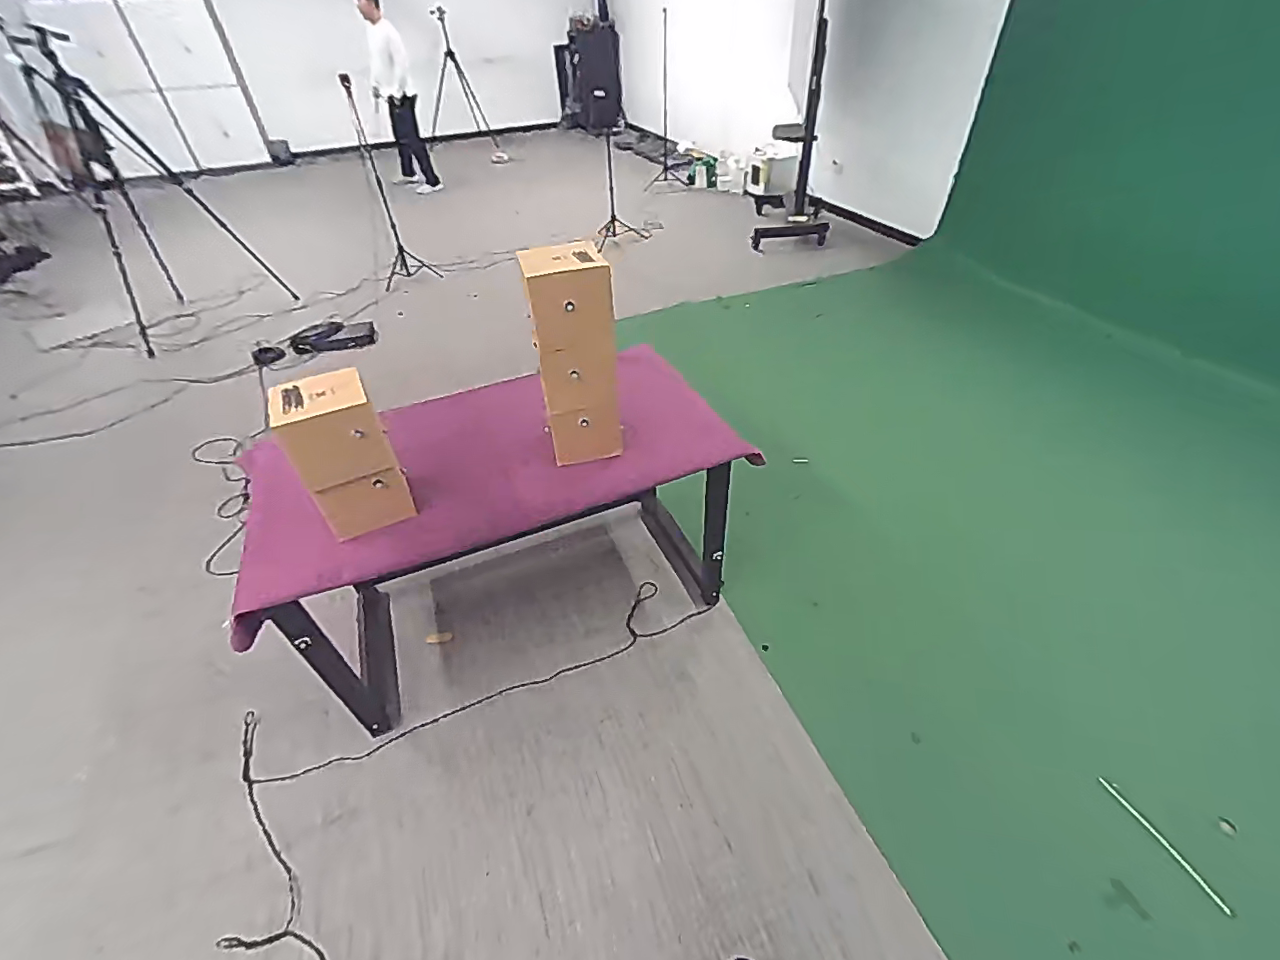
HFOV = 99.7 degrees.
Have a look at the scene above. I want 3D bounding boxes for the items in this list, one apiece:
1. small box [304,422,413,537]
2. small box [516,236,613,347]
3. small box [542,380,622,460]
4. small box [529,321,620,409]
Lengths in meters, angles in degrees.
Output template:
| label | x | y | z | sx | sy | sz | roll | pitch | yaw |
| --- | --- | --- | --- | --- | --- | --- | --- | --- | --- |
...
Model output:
| label | x | y | z | sx | sy | sz | roll | pitch | yaw |
| --- | --- | --- | --- | --- | --- | --- | --- | --- | --- |
| small box | -0.643 | -0.001 | 1.249 | 0.179 | 0.176 | 0.168 | -21 | 45 | -19 |
| small box | -0.161 | -0.413 | 1.185 | 0.179 | 0.176 | 0.168 | -14 | 43 | -10 |
| small box | -0.148 | -0.169 | 1.405 | 0.179 | 0.176 | 0.168 | -10 | 43 | -8 |
| small box | -0.155 | -0.289 | 1.295 | 0.179 | 0.176 | 0.168 | -13 | 44 | -9 |
